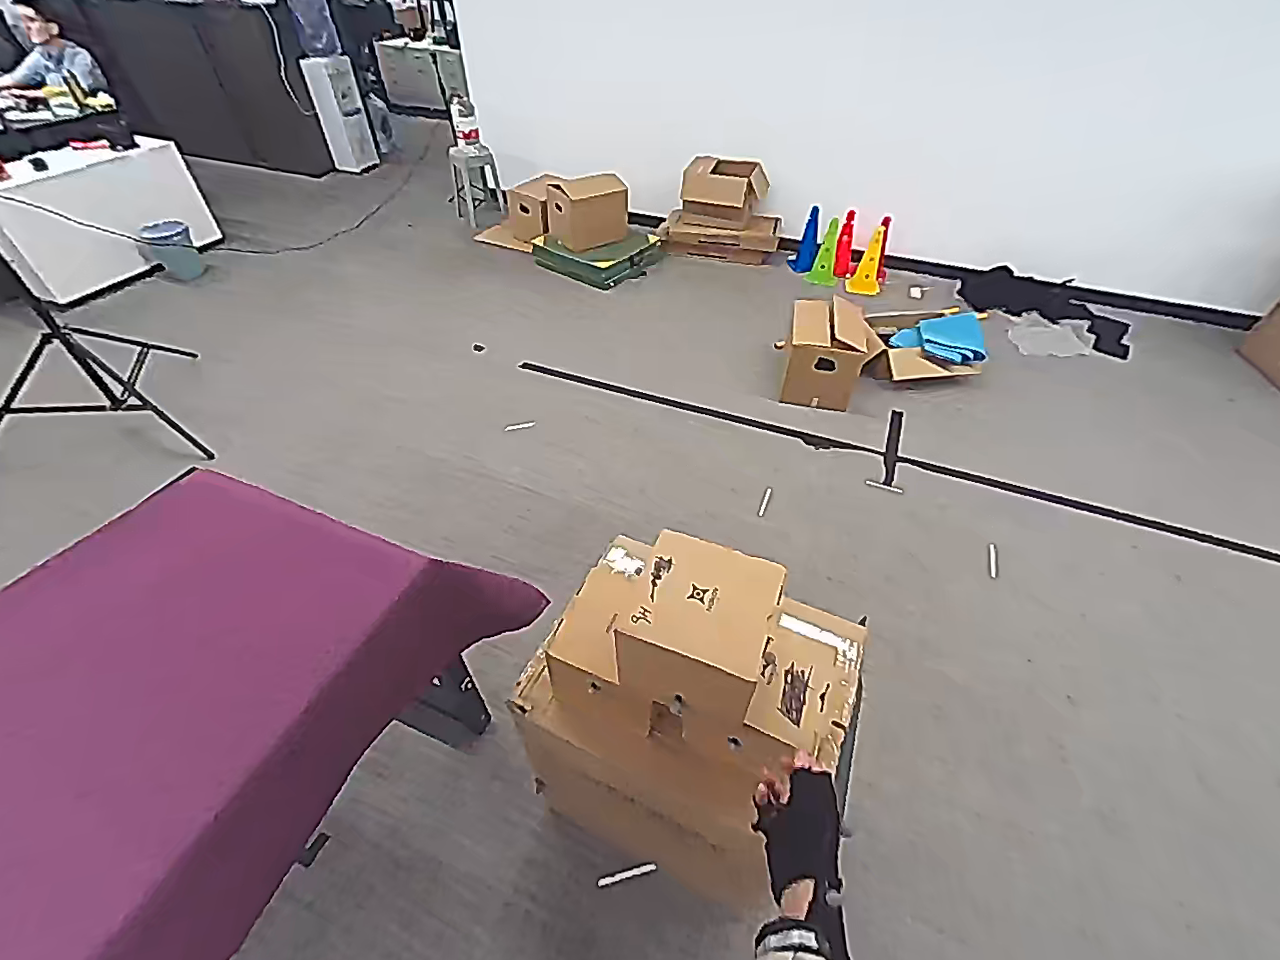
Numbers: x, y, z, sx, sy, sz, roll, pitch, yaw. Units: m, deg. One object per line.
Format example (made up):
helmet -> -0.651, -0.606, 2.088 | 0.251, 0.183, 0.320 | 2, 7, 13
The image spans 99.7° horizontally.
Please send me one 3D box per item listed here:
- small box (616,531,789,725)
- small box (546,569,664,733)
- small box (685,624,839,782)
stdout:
small box -> 0.082, 0.202, 0.726 | 0.179, 0.176, 0.168 | 16, 48, 16
small box -> -0.030, 0.280, 0.877 | 0.179, 0.176, 0.168 | 18, 49, 14
small box -> 0.180, 0.331, 0.827 | 0.179, 0.176, 0.168 | 19, 48, 19
